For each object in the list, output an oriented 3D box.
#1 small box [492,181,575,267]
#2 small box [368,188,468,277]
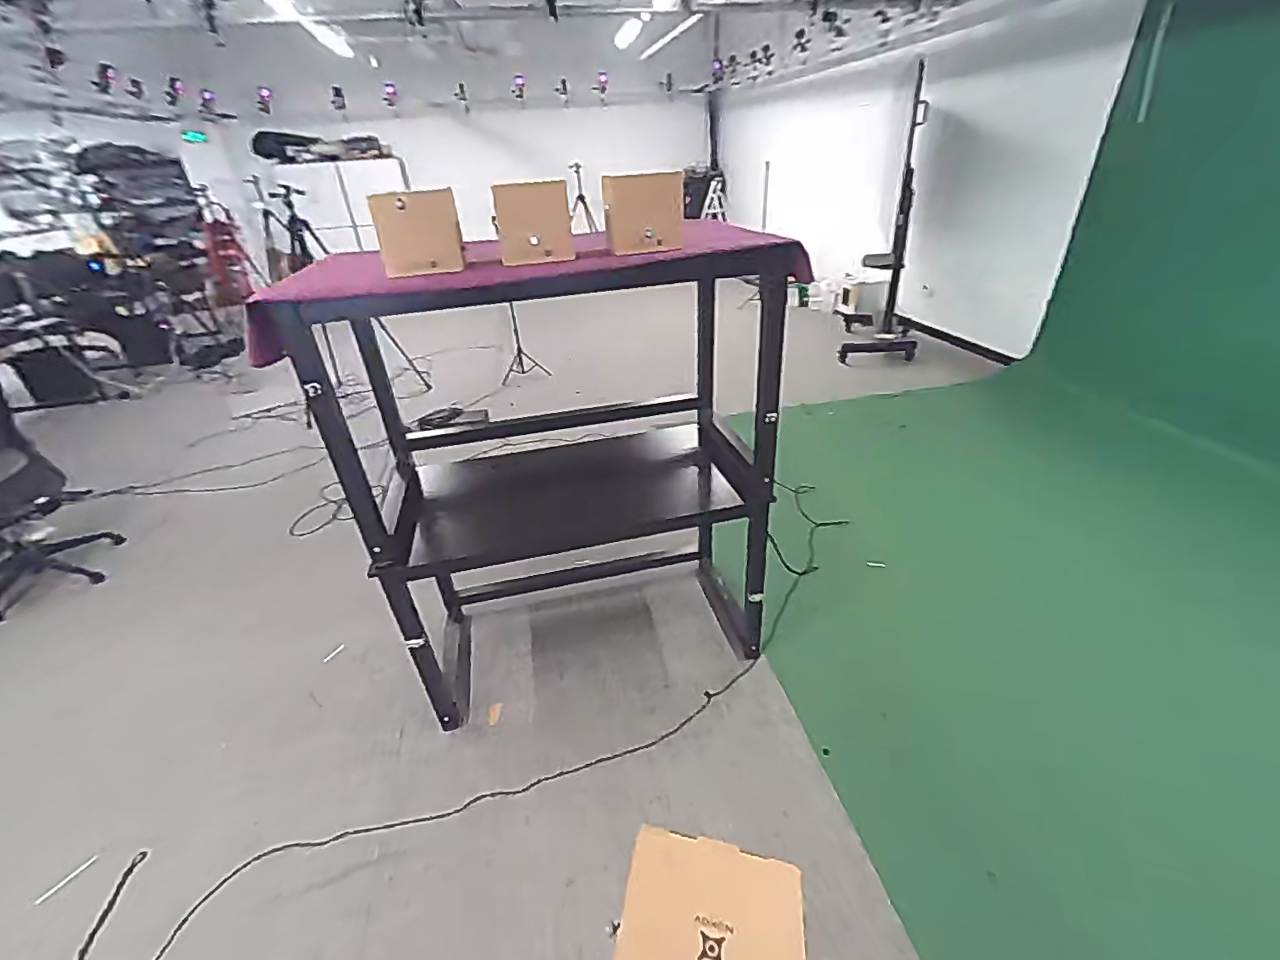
[{"bbox_3d":[-0.251,-0.607,1.279,0.168,0.176,0.179,-9,31,-9],"label":"small box"},{"bbox_3d":[-0.497,-0.566,1.237,0.168,0.176,0.179,-10,29,-10],"label":"small box"}]
